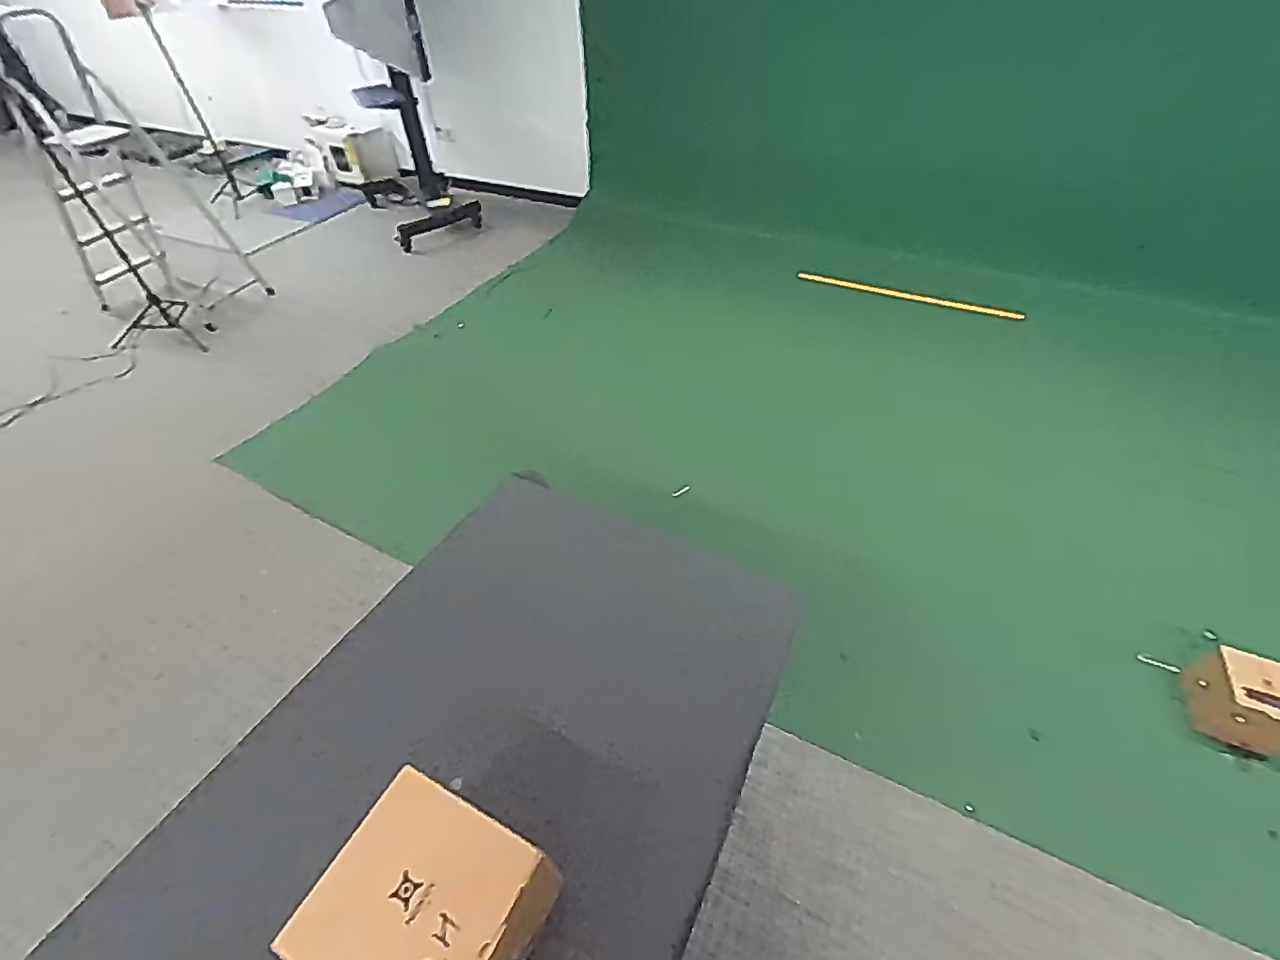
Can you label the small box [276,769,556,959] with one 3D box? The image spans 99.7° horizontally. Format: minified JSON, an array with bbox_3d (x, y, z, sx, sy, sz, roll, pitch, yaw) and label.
[{"bbox_3d":[-0.207,0.438,0.548,0.179,0.176,0.168,20,49,19],"label":"small box"}]
